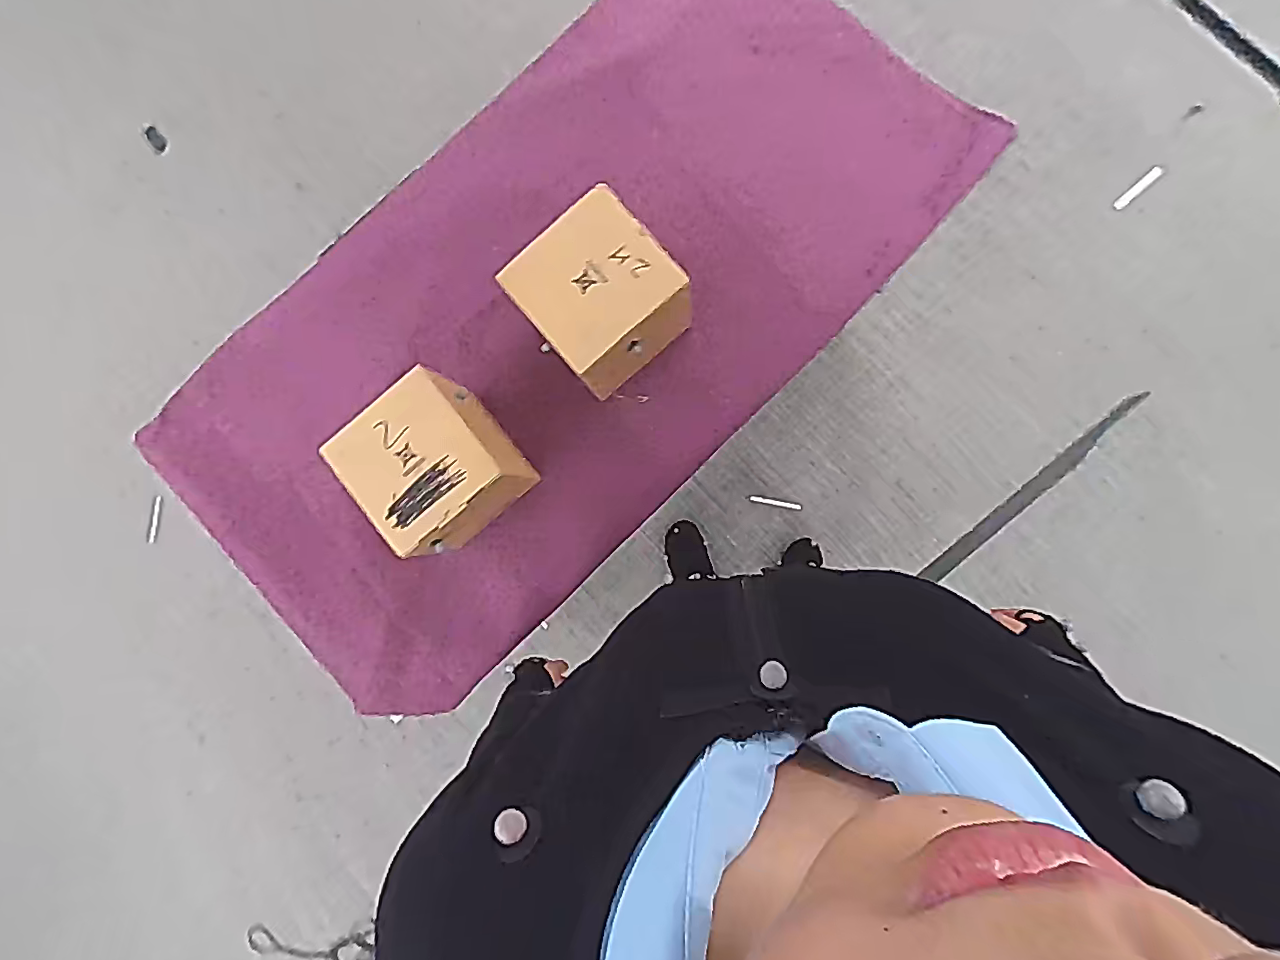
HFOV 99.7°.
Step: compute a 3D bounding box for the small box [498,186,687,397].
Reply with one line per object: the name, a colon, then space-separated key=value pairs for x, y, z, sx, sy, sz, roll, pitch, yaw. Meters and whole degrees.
small box: x=-0.050 y=-0.235 z=0.724 sx=0.179 sy=0.176 sz=0.168 roll=-40 pitch=85 yaw=2
